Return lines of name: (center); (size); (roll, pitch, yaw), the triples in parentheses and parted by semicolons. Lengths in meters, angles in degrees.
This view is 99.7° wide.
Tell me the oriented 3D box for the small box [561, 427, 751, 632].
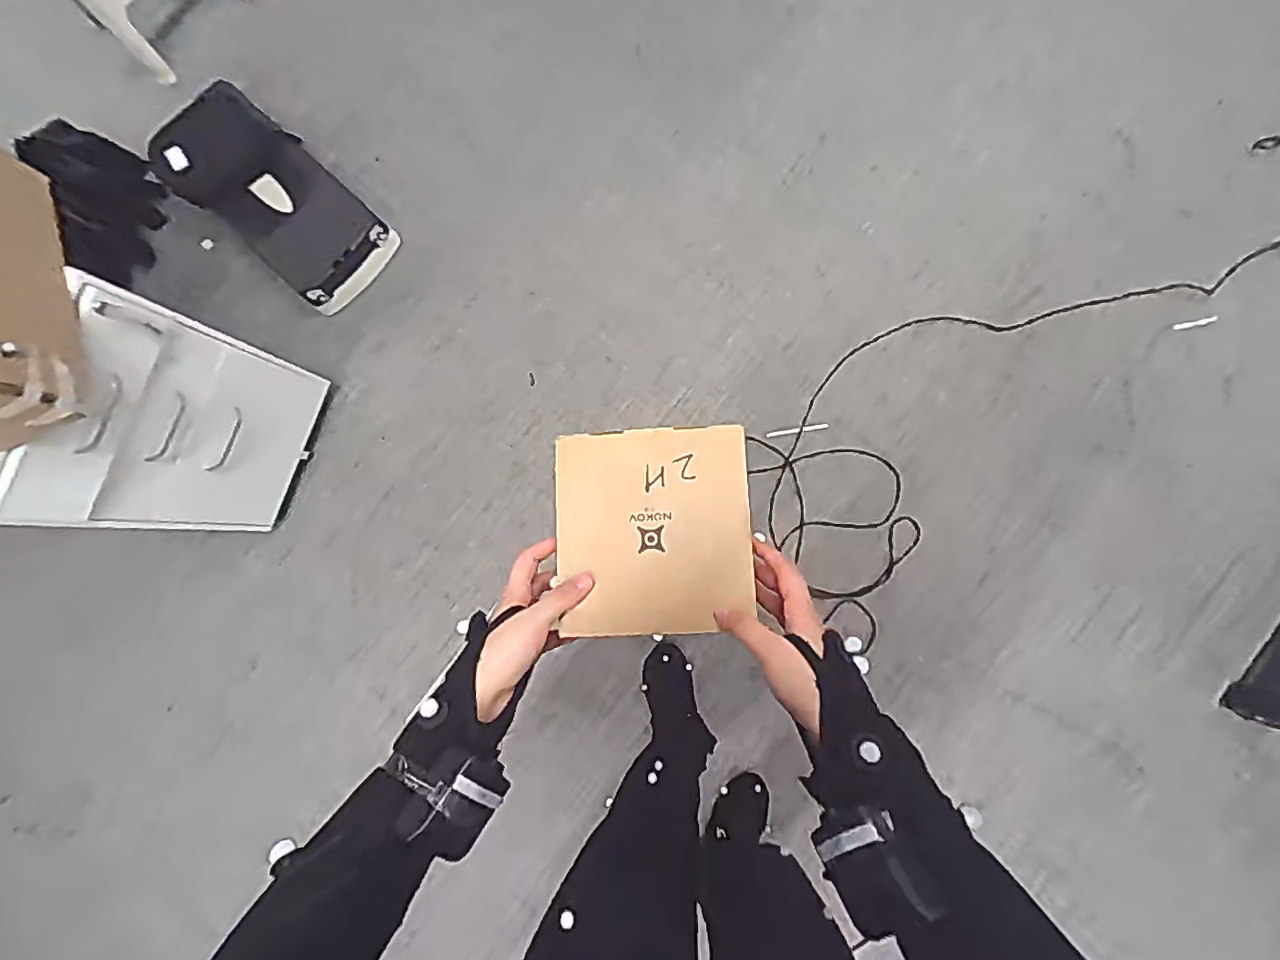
small box: (0.020, 0.054, 0.551); (0.168, 0.176, 0.179); (-3, 81, 5)
